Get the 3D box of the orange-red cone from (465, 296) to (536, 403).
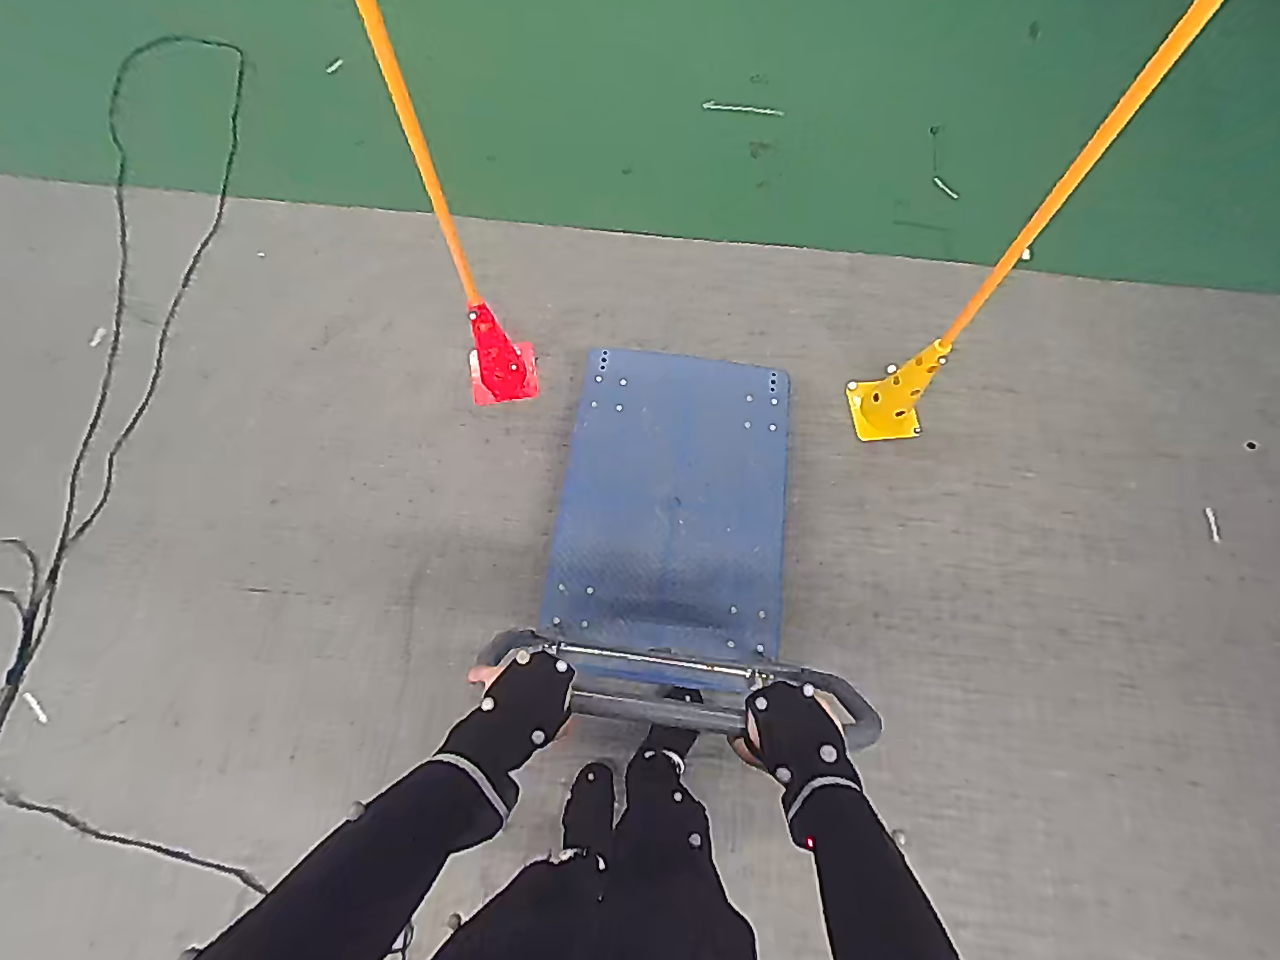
[{"bbox_3d":[-0.426,-0.390,1.526,0.199,0.360,0.198,-9,71,-3],"label":"orange-red cone"}]
